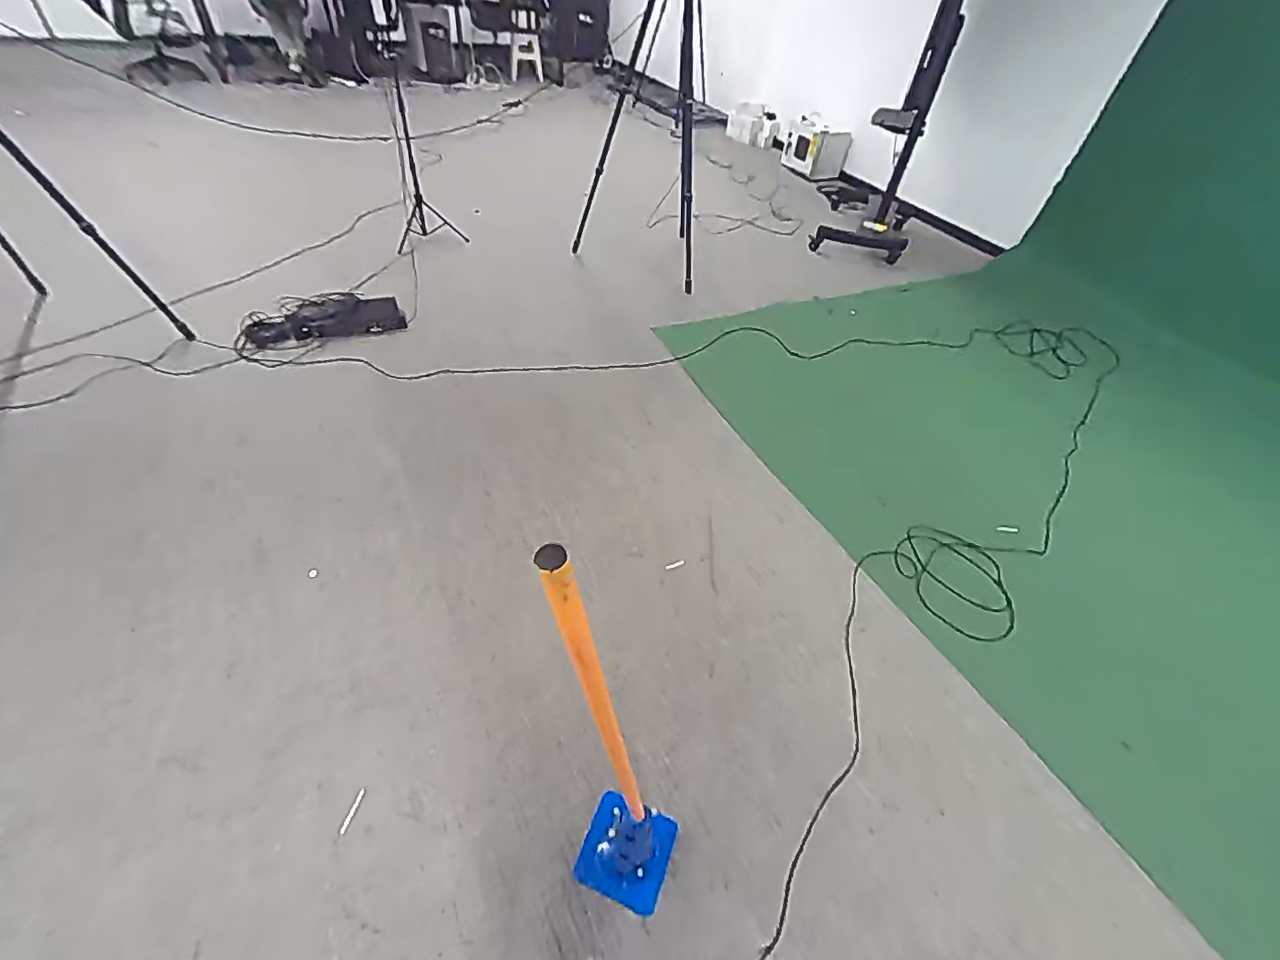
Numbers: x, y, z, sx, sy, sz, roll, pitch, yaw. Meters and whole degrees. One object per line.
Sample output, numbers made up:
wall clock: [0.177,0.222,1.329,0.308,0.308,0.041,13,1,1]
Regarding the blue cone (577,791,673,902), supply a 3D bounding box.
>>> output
blue cone: [-0.023,0.730,1.130,0.193,0.380,0.192,18,48,11]
